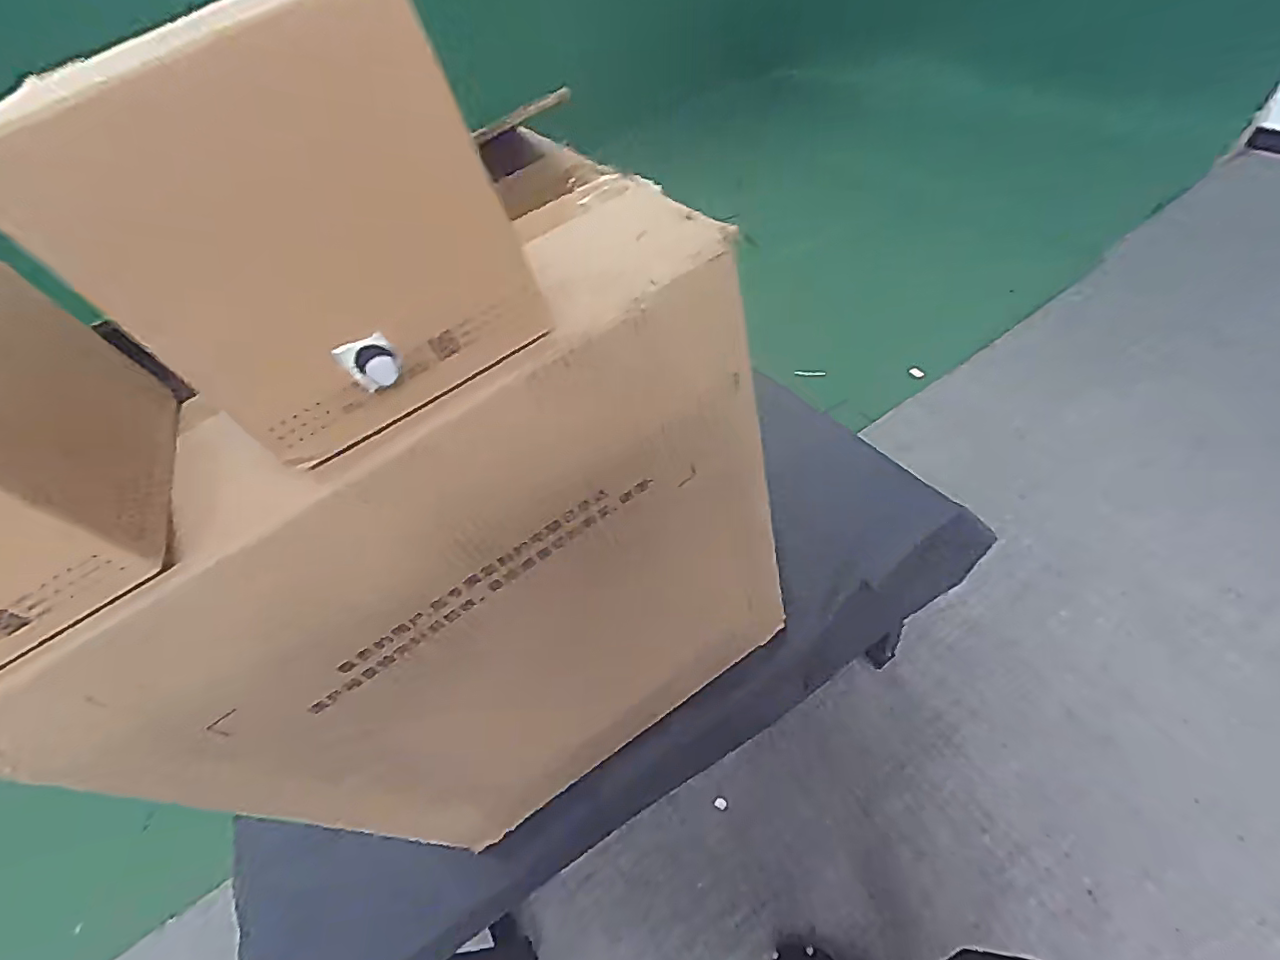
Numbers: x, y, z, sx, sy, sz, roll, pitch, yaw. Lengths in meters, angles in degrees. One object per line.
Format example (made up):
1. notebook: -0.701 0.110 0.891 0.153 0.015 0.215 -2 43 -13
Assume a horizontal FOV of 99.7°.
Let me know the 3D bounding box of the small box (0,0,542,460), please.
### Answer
1. small box: -0.182 -0.144 0.299 0.168 0.176 0.179 -34 52 -8

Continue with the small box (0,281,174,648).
1. small box: -0.378 -0.010 0.262 0.168 0.176 0.179 -33 51 -7
